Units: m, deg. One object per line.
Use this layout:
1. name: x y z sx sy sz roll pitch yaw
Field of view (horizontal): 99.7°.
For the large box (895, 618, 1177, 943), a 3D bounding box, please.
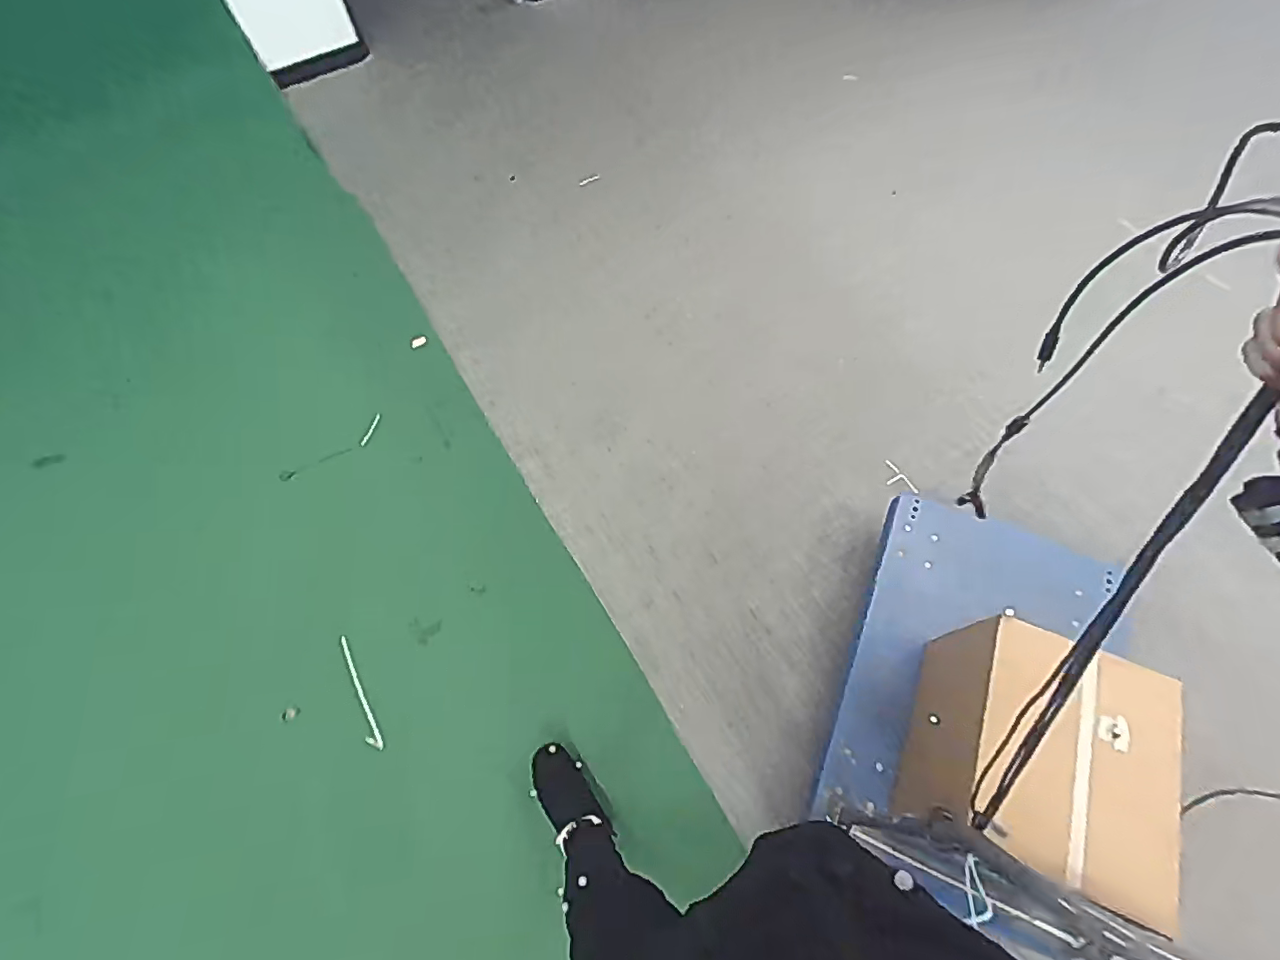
1. large box: 0.737 0.543 1.042 0.320 0.320 0.408 22 66 11
